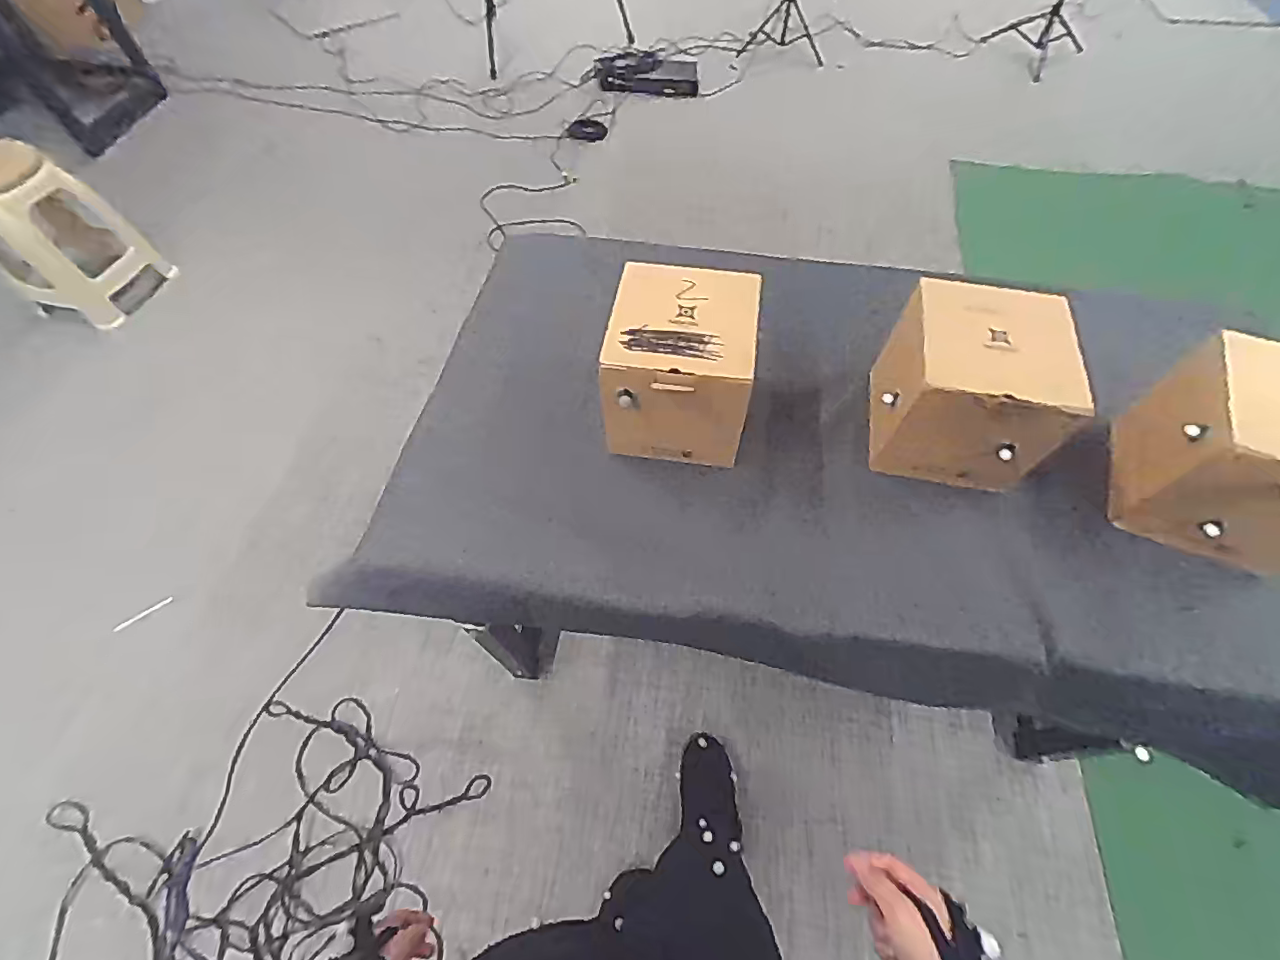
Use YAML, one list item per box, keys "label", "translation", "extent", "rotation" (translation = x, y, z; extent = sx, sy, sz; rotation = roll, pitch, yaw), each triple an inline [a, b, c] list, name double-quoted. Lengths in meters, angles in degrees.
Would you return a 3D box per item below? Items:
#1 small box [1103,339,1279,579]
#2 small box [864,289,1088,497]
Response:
- label: "small box"
  translation: [0.668, -0.019, 0.607]
  extent: [0.168, 0.176, 0.179]
  rotation: [21, 61, 13]
- label: "small box"
  translation: [0.386, -0.100, 0.659]
  extent: [0.168, 0.176, 0.179]
  rotation: [11, 58, 5]
